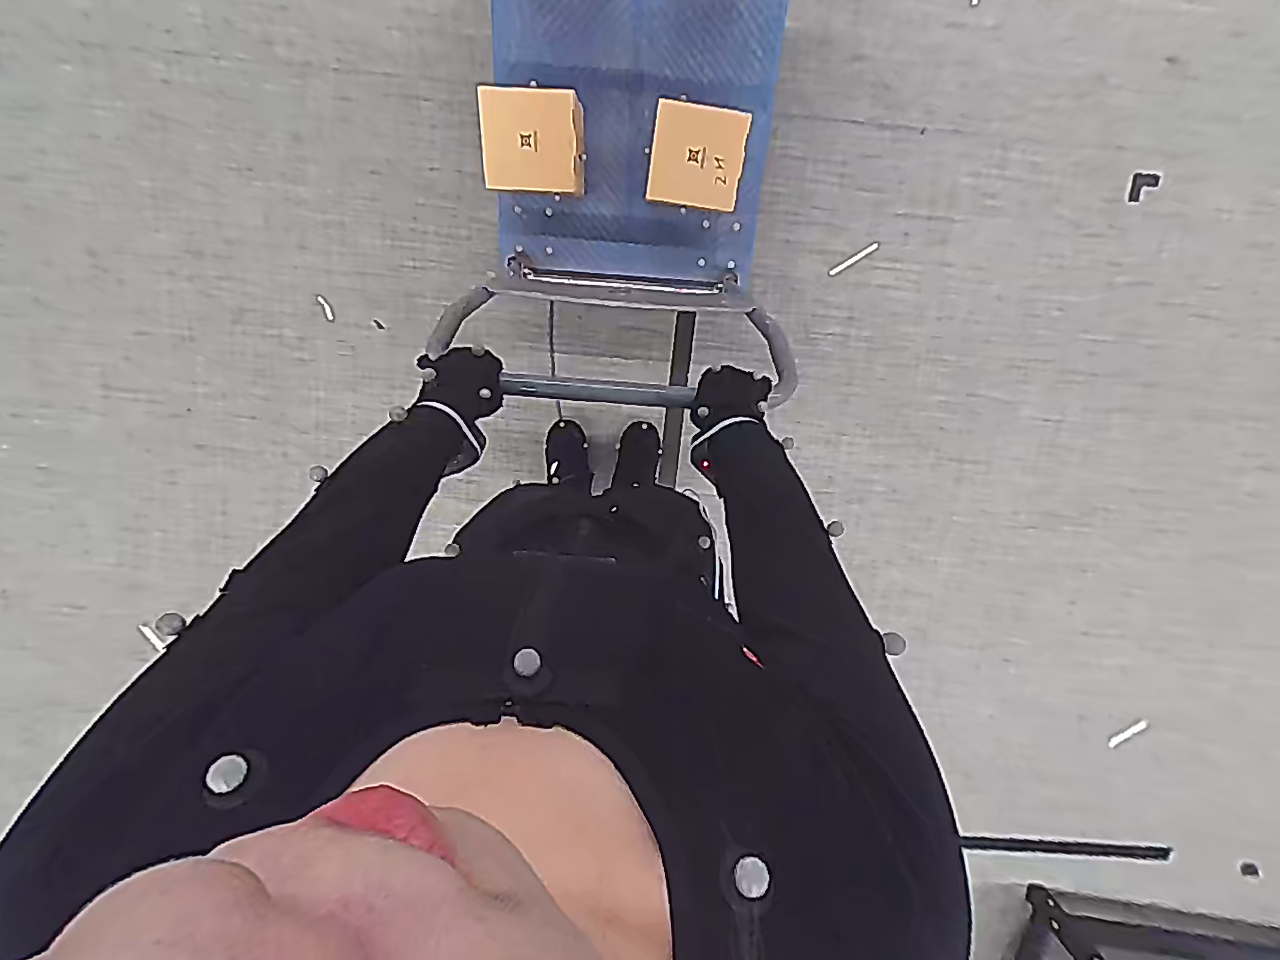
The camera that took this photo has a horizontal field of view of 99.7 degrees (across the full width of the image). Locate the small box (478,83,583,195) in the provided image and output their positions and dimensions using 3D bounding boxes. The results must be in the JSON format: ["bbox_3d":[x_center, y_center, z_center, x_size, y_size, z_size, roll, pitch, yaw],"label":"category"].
[{"bbox_3d":[-0.208,-0.666,1.073,0.179,0.176,0.168,1,115,-2],"label":"small box"}]

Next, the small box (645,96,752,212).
[{"bbox_3d":[0.108,-0.642,1.084,0.179,0.176,0.168,8,116,-4],"label":"small box"}]
